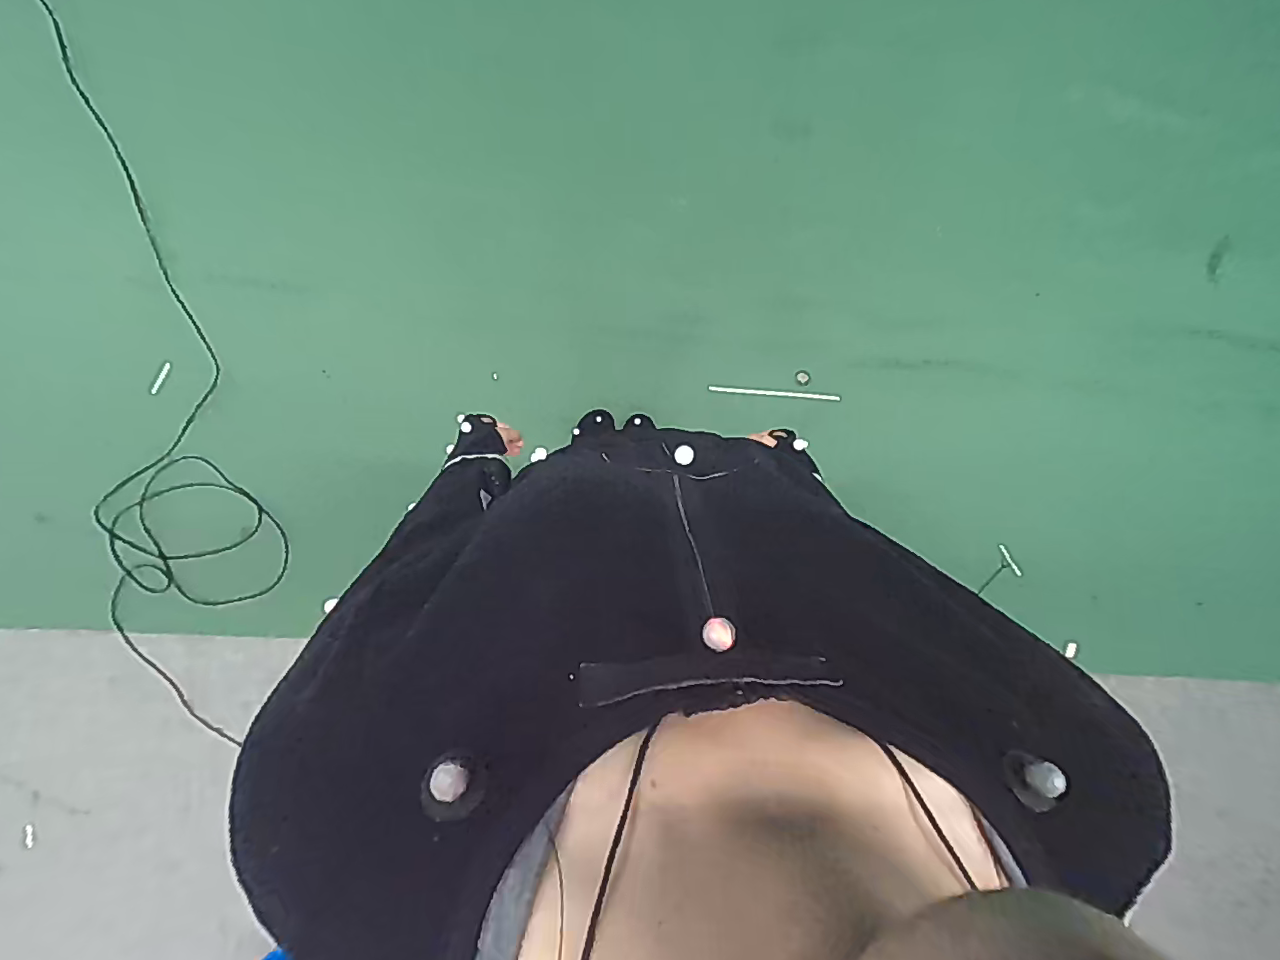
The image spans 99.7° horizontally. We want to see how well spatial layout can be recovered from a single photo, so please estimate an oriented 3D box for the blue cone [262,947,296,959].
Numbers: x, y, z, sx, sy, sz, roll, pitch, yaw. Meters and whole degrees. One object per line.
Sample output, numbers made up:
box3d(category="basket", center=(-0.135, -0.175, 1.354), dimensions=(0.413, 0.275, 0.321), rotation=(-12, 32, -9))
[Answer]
box3d(category="blue cone", center=(-1.057, 1.518, 1.440), dimensions=(0.193, 0.380, 0.192), rotation=(-40, 101, 4))
